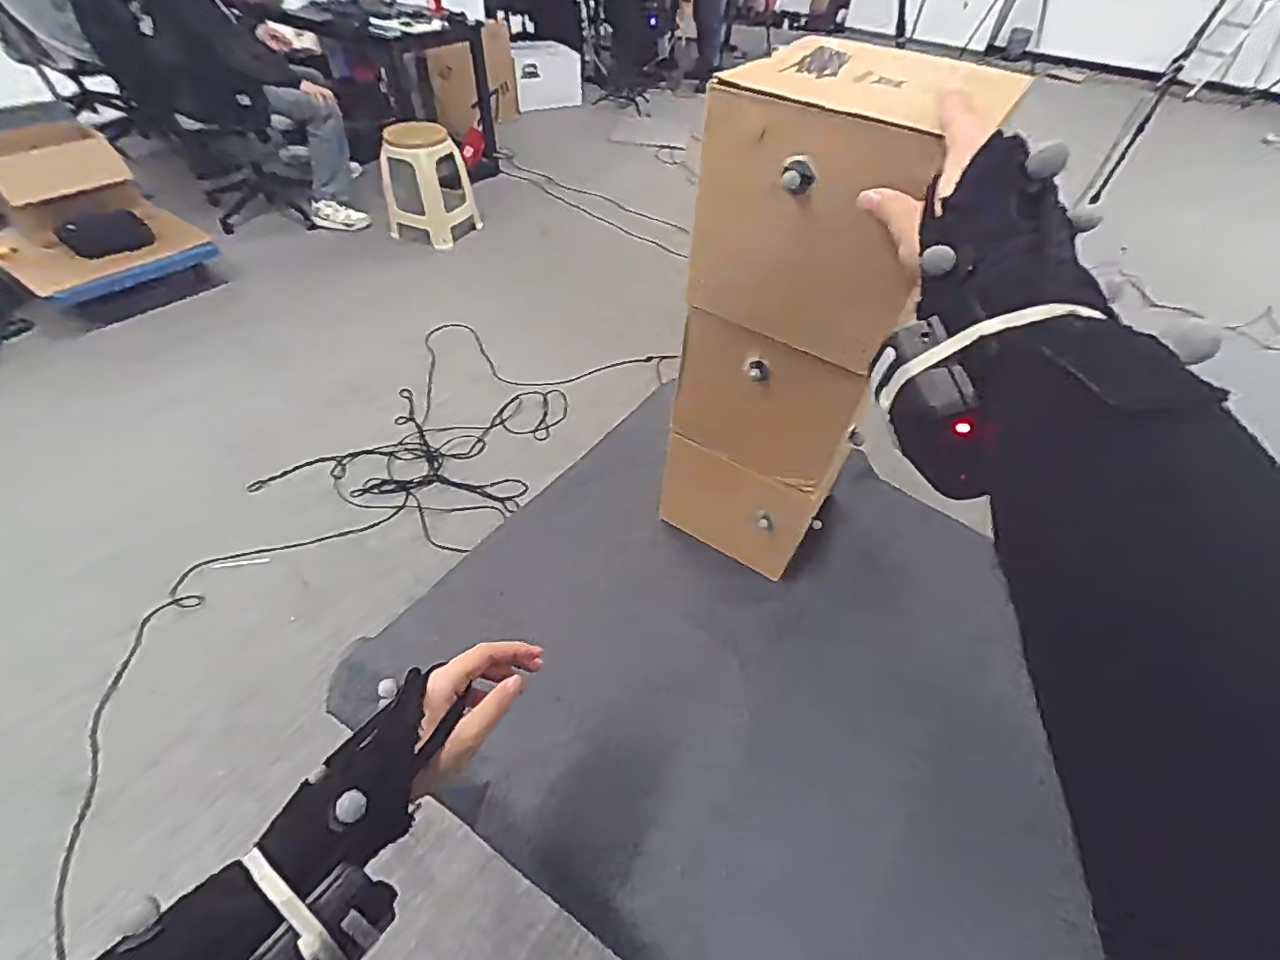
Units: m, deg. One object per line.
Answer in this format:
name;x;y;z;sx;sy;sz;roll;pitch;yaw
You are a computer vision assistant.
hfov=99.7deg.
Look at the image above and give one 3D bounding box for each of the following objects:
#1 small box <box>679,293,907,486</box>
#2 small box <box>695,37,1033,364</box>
small box;0.155;-0.122;0.563;0.179;0.176;0.168;28;55;18
small box;0.160;-0.221;0.431;0.179;0.176;0.168;30;56;19
